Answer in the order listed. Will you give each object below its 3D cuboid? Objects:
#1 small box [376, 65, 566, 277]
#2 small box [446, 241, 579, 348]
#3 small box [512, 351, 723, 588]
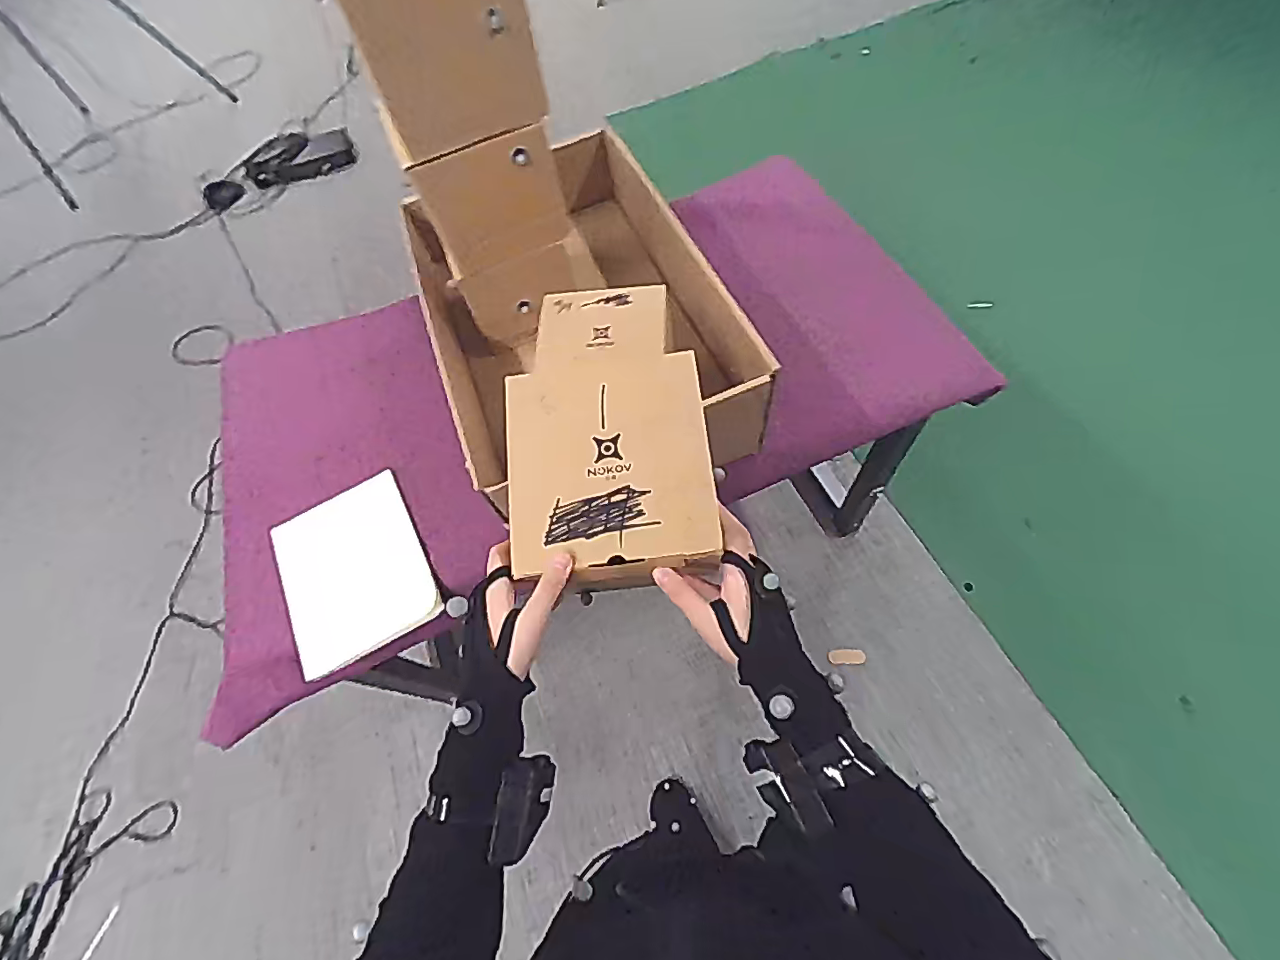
[{"bbox_3d":[-0.222,-0.413,0.739,0.179,0.176,0.168,-25,64,-6],"label":"small box"},{"bbox_3d":[-0.211,-0.340,0.883,0.168,0.176,0.179,-22,64,-5],"label":"small box"},{"bbox_3d":[-0.014,0.005,0.511,0.168,0.176,0.179,-7,72,4],"label":"small box"}]
